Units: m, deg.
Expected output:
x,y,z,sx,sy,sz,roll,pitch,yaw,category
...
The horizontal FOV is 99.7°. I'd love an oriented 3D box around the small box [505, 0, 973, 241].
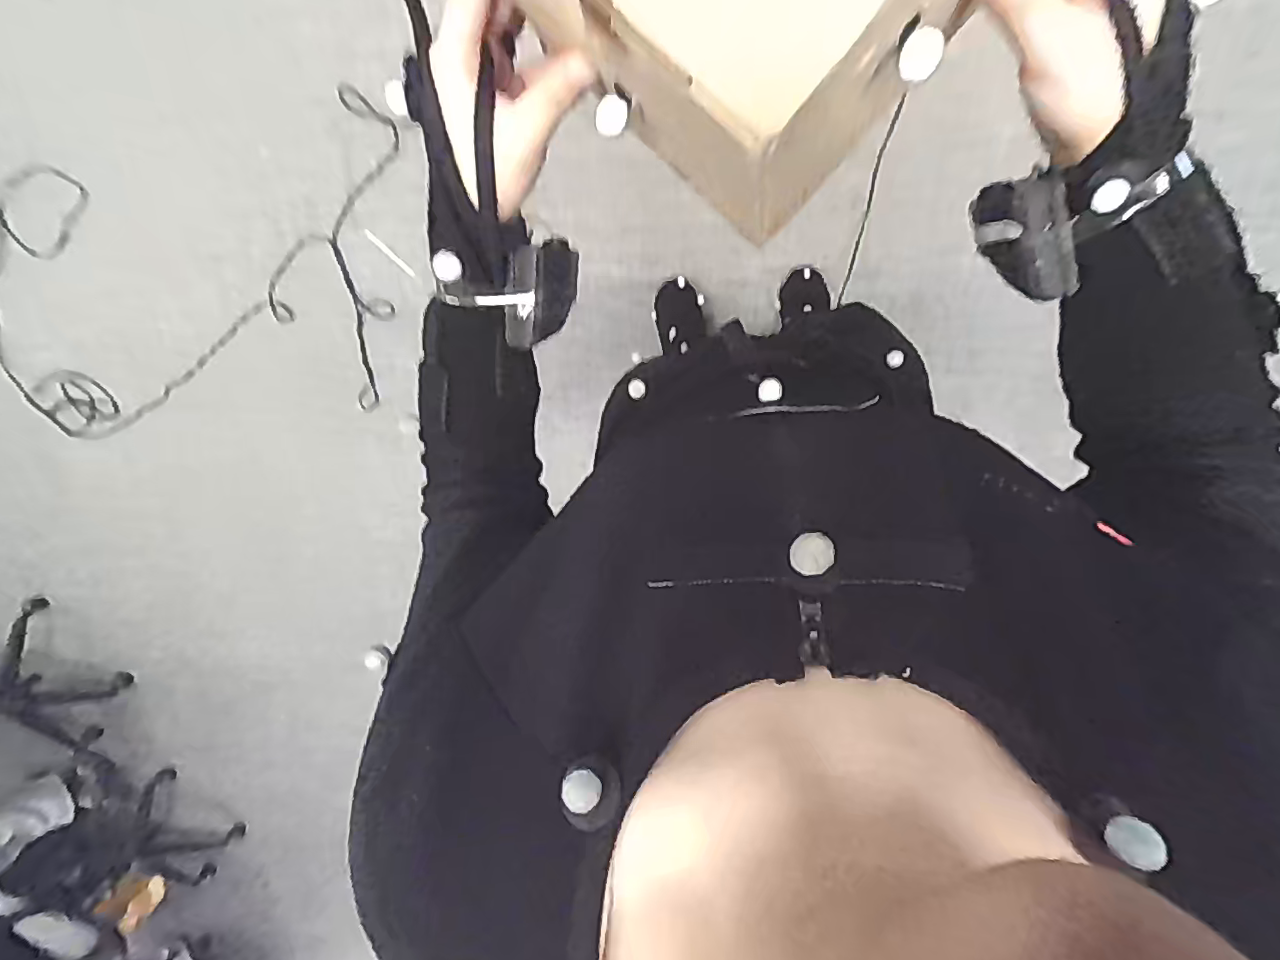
x,y,z,sx,sy,sz,roll,pitch,yaw,category
0.044,-0.226,0.213,0.168,0.176,0.179,43,109,0,small box
